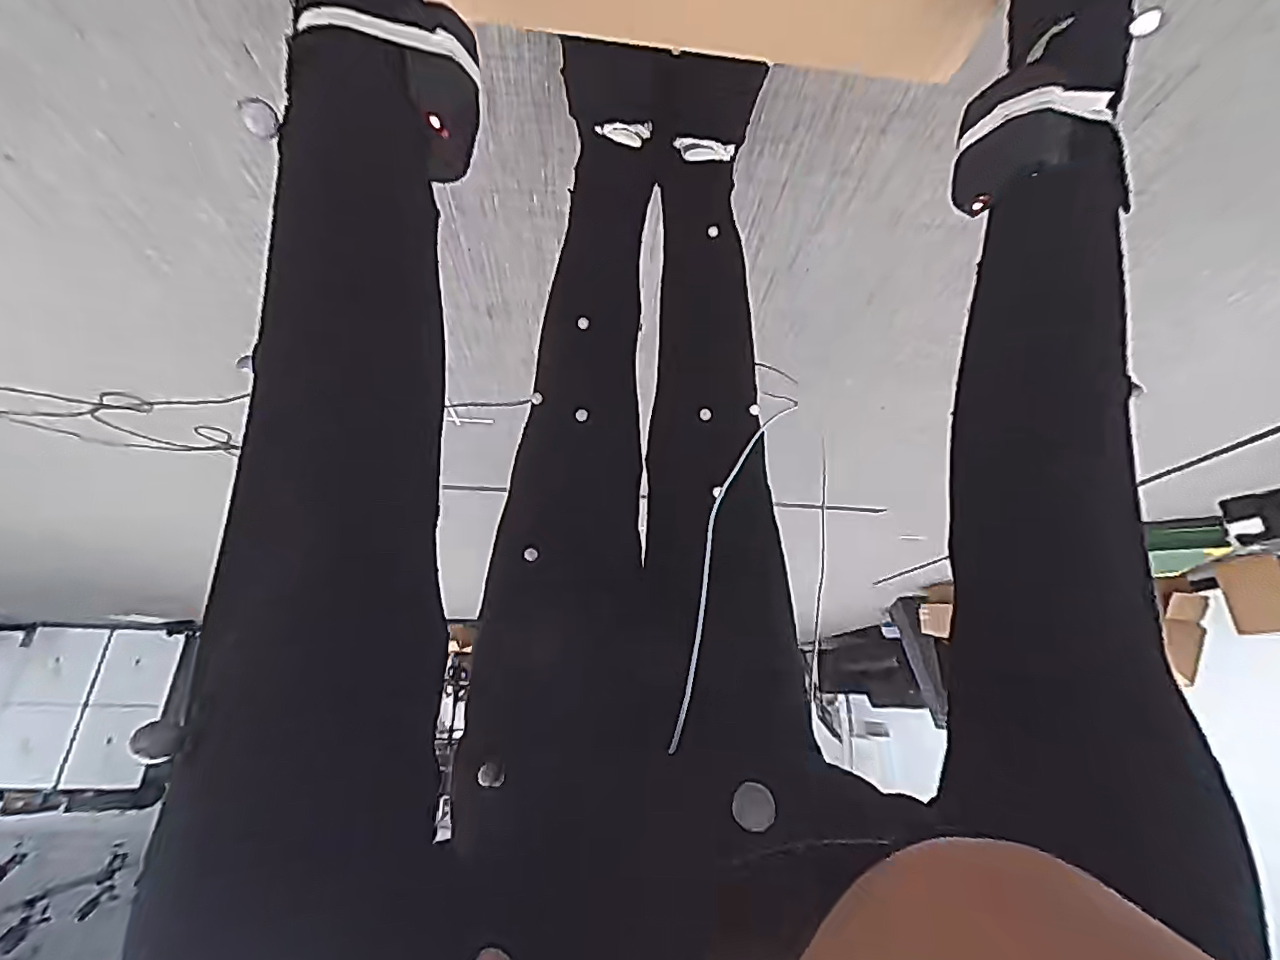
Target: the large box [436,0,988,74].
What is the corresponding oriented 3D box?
[{"bbox_3d":[0.062,-0.527,0.333,0.408,0.320,0.320,3,158,-6],"label":"large box"}]
